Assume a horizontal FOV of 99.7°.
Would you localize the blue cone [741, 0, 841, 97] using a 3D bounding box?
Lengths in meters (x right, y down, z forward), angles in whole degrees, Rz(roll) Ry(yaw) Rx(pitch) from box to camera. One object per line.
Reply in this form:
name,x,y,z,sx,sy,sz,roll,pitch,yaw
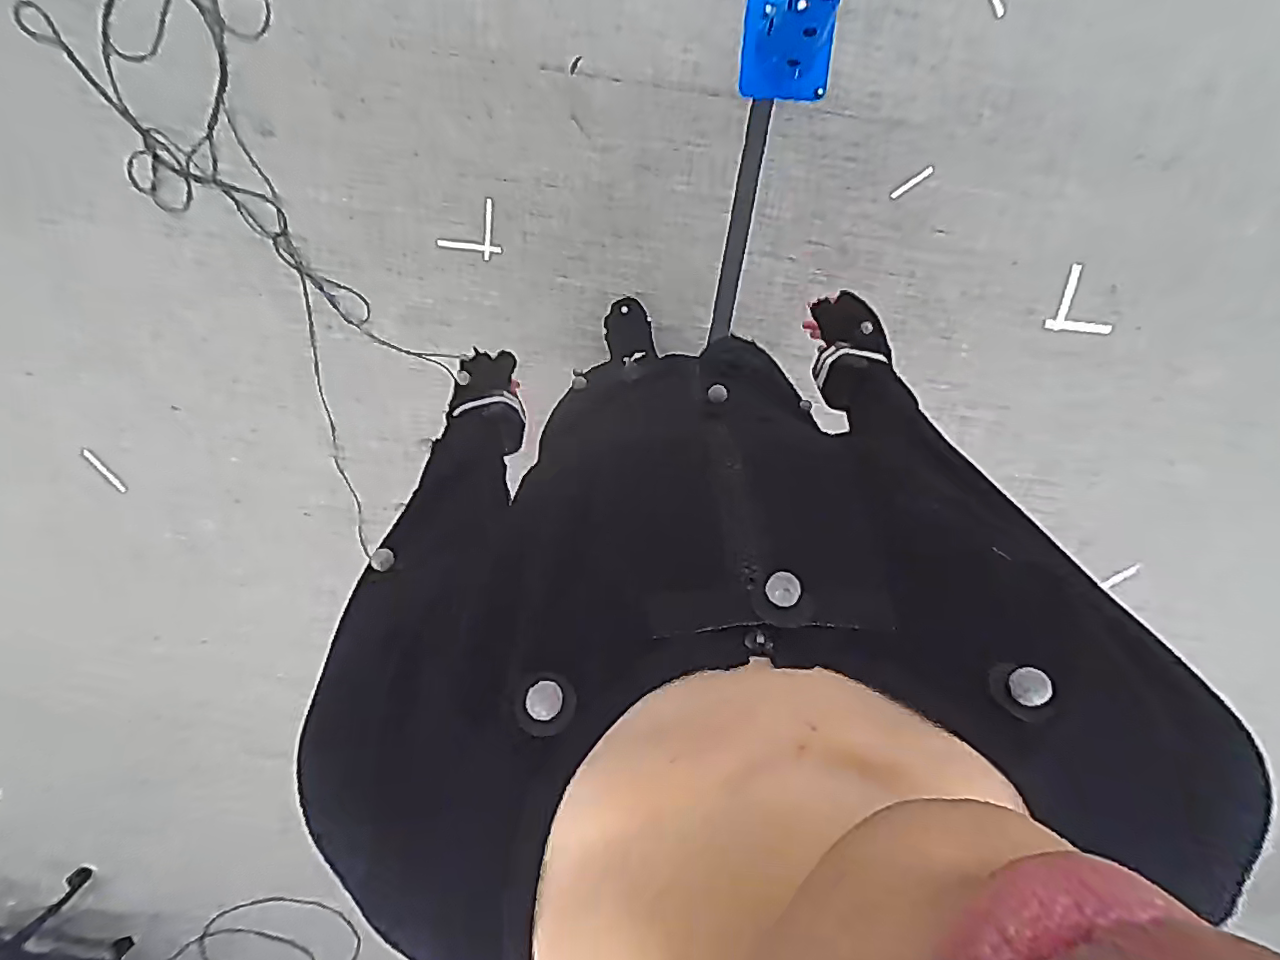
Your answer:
blue cone,0.329,-0.911,1.042,0.192,0.380,0.193,4,108,-3
